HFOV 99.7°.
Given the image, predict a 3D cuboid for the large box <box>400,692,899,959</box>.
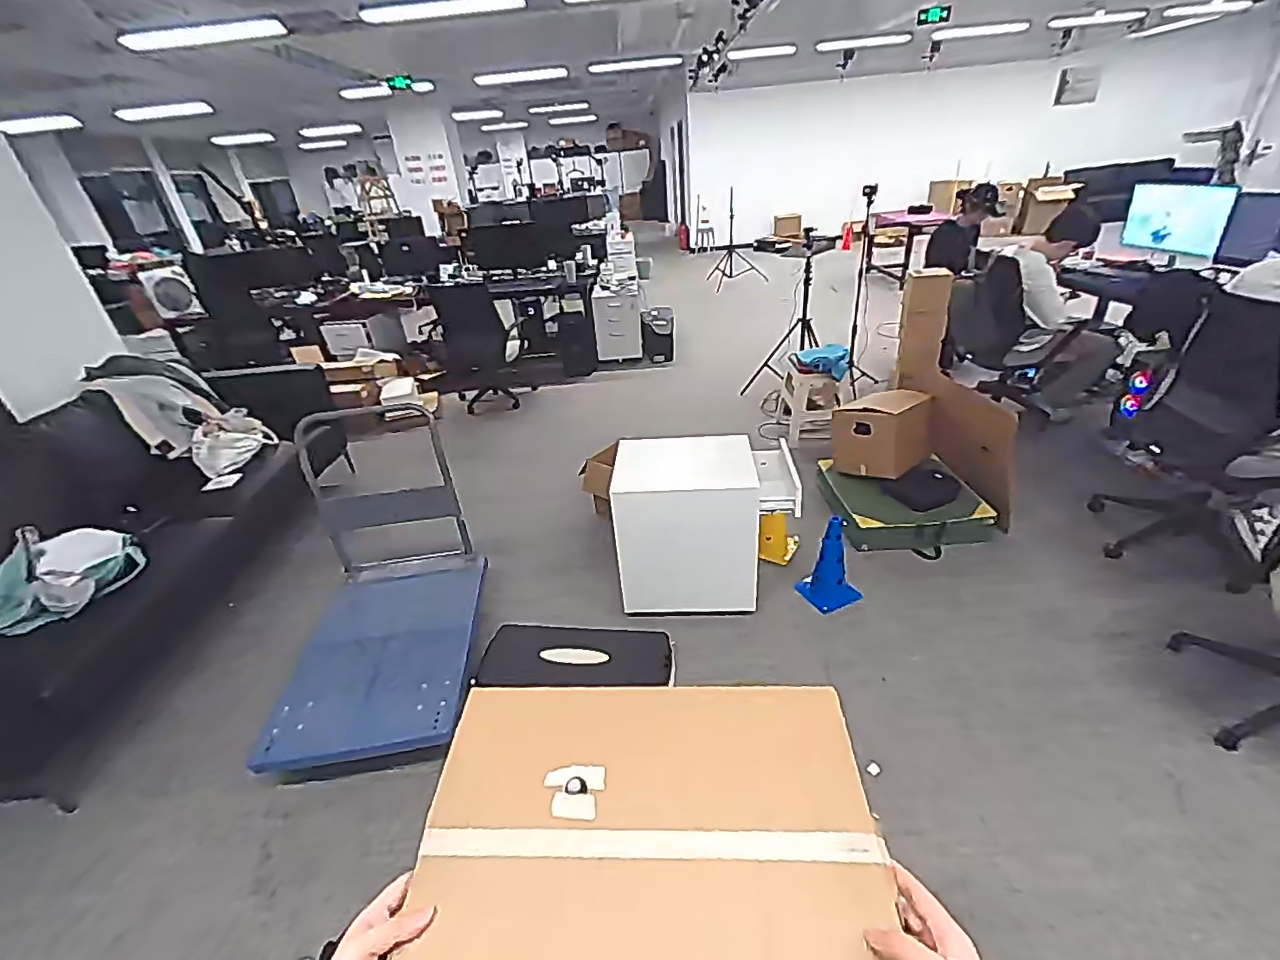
[{"bbox_3d":[0.020,0.454,0.572,0.408,0.320,0.320,-4,36,6],"label":"large box"}]
